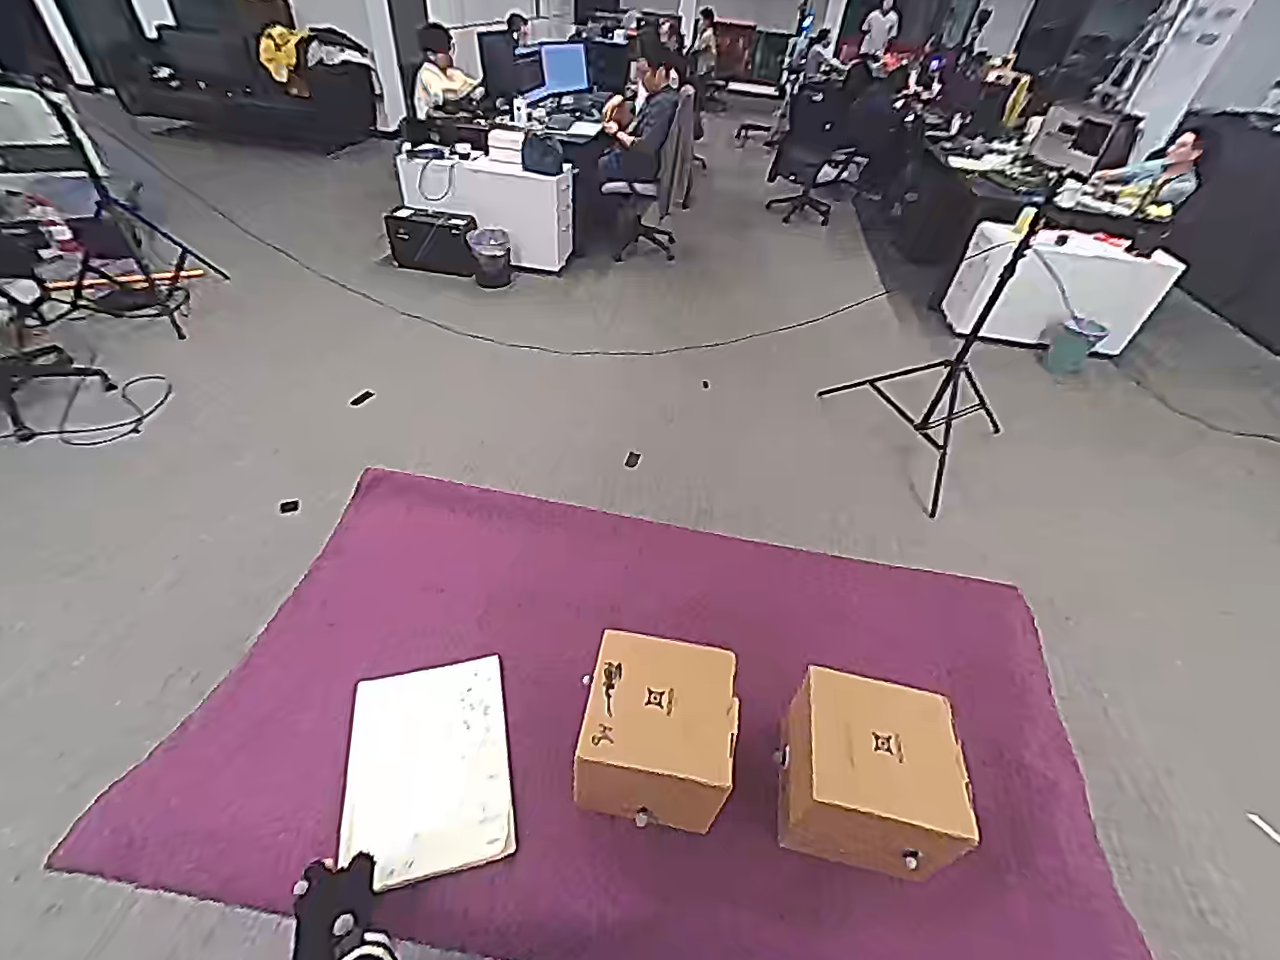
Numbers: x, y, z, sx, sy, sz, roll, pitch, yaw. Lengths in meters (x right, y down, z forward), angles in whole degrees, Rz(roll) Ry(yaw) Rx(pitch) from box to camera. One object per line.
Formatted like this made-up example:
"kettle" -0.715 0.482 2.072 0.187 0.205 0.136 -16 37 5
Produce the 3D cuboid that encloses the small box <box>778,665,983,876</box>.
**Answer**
"small box" 0.281 0.364 0.677 0.179 0.176 0.168 10 40 7

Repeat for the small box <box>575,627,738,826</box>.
"small box" 0.020 0.319 0.694 0.179 0.176 0.168 10 42 3
